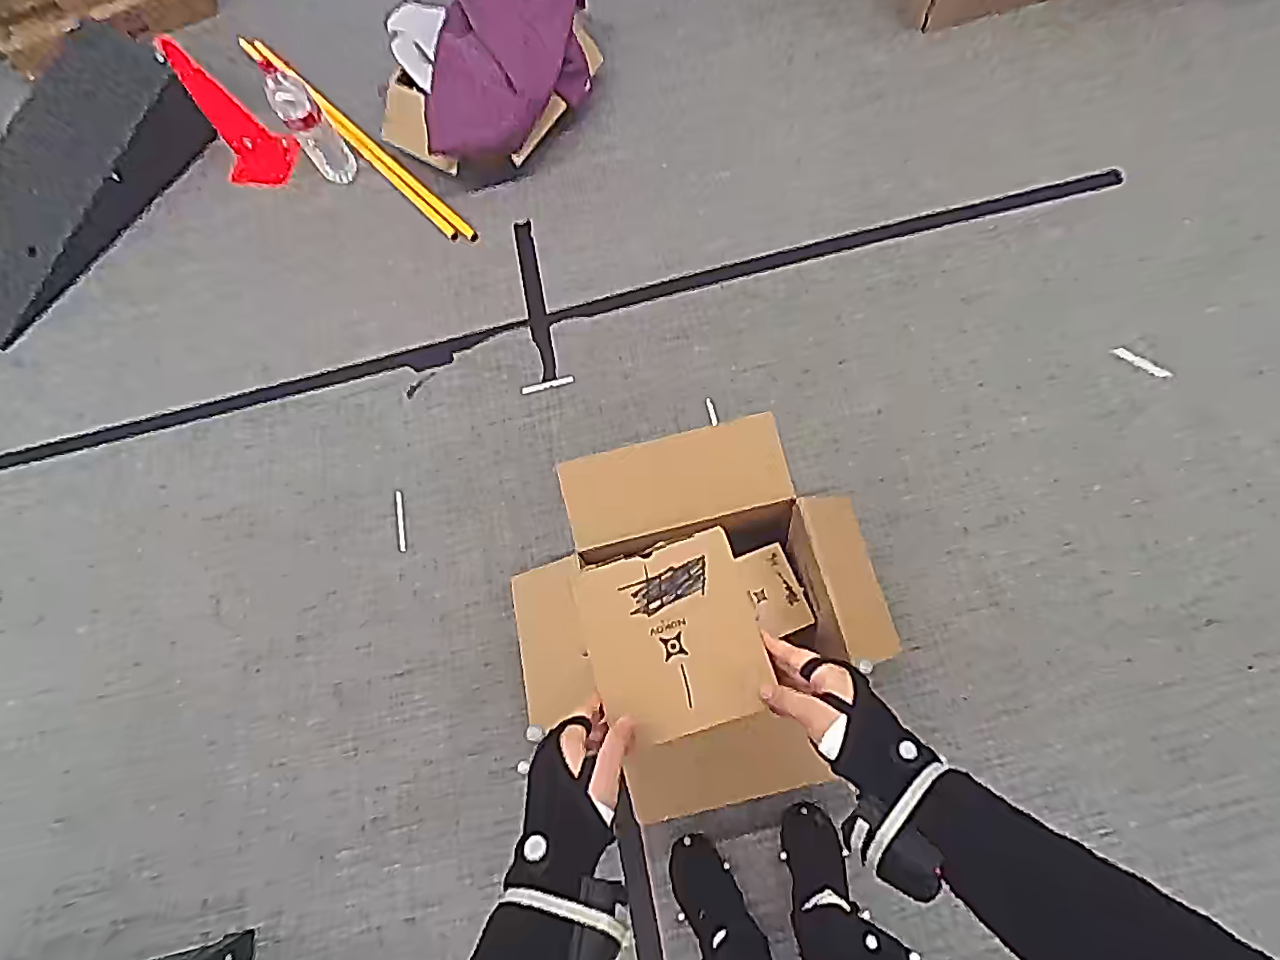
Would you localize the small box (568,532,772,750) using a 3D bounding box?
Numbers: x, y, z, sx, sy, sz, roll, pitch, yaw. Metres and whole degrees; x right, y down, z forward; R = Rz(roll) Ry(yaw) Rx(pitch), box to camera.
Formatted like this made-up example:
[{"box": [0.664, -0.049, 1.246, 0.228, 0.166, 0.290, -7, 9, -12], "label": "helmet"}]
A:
[{"box": [0.030, 0.176, 0.614, 0.168, 0.176, 0.179, -18, 76, 0], "label": "small box"}]
